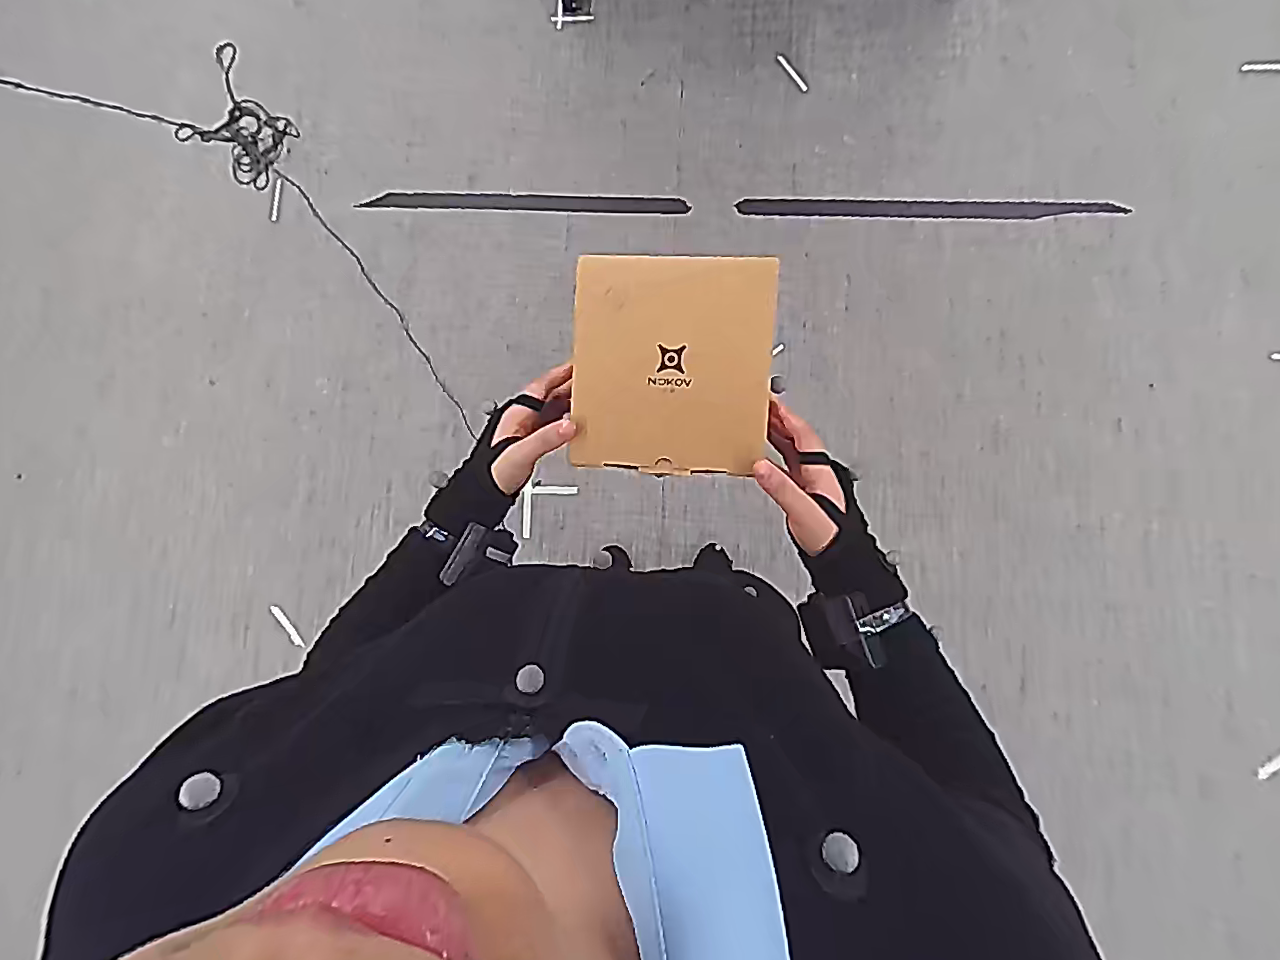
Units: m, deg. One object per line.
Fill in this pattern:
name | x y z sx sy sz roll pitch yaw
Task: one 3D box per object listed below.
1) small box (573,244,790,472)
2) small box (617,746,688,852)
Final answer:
small box | 0.038 -0.104 0.515 0.168 0.176 0.179 4 95 6
small box | 0.036 0.788 1.354 0.168 0.176 0.179 1 85 6
